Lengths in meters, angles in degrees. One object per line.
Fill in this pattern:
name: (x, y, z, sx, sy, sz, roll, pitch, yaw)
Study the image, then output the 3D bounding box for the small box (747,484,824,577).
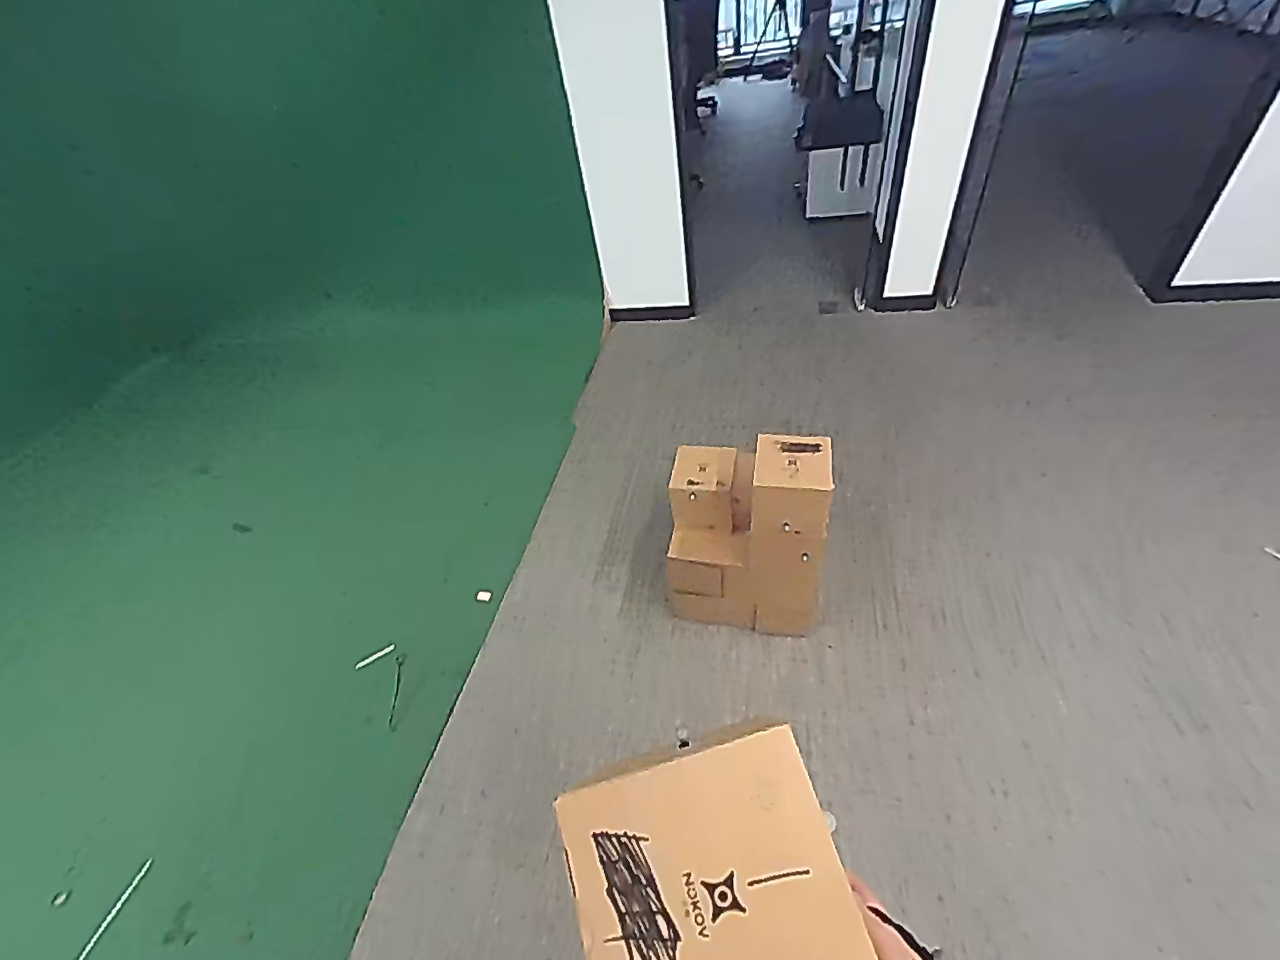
small box: (0.366, 0.129, 1.374, 0.179, 0.176, 0.168, 2, 44, 14)

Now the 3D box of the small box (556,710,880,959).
small box: (0.055, 0.290, 0.422, 0.179, 0.176, 0.168, -19, 67, 0)

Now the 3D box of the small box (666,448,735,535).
small box: (0.175, 0.030, 1.518, 0.168, 0.176, 0.179, 3, 43, 15)
